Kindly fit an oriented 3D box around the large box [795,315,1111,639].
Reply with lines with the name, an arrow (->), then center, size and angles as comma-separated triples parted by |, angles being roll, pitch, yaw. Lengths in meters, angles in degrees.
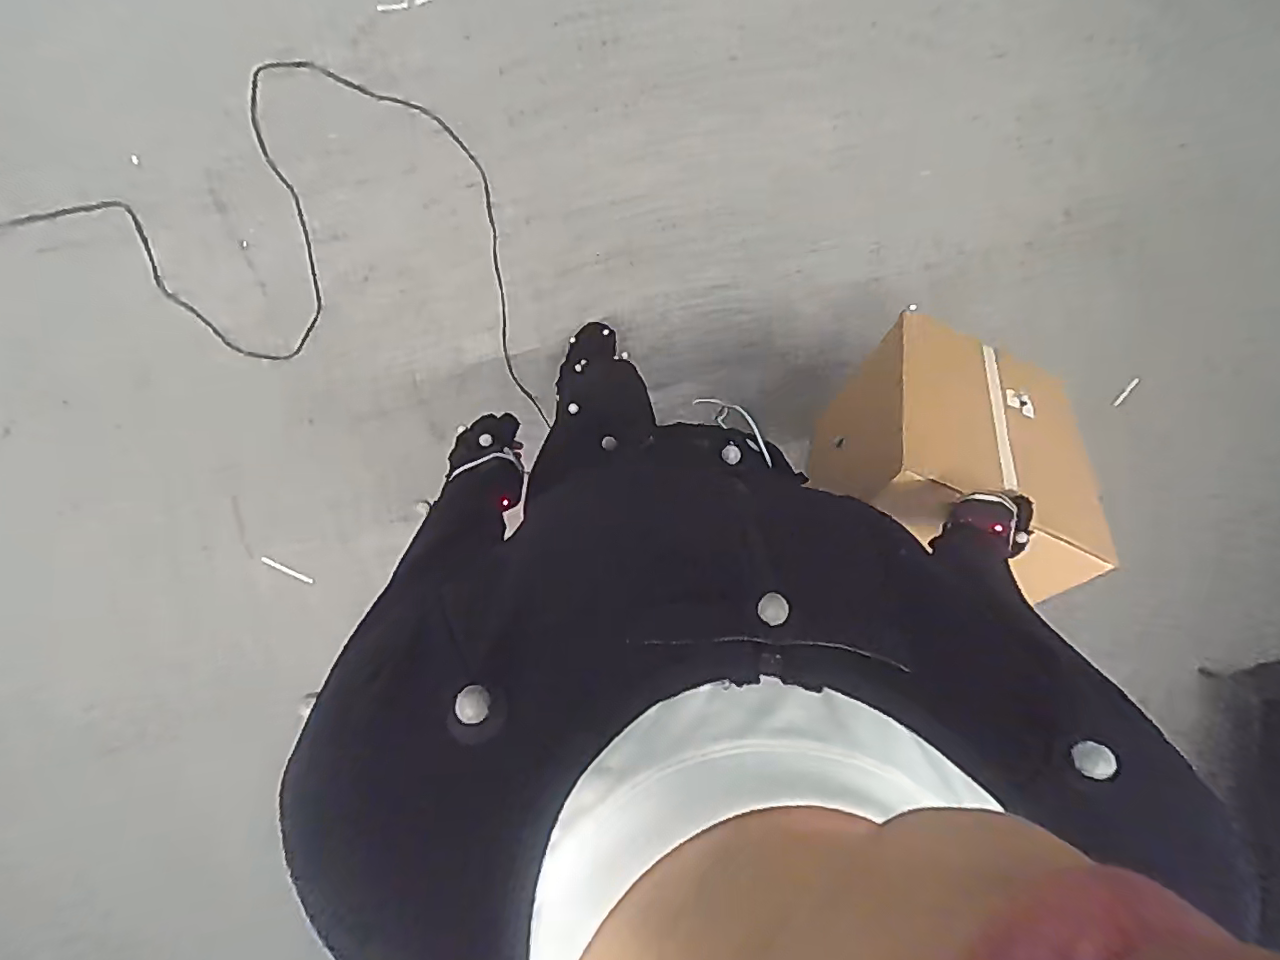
large box -> 0.497, -0.004, 0.943 | 0.320, 0.408, 0.320 | 25, 140, -2
